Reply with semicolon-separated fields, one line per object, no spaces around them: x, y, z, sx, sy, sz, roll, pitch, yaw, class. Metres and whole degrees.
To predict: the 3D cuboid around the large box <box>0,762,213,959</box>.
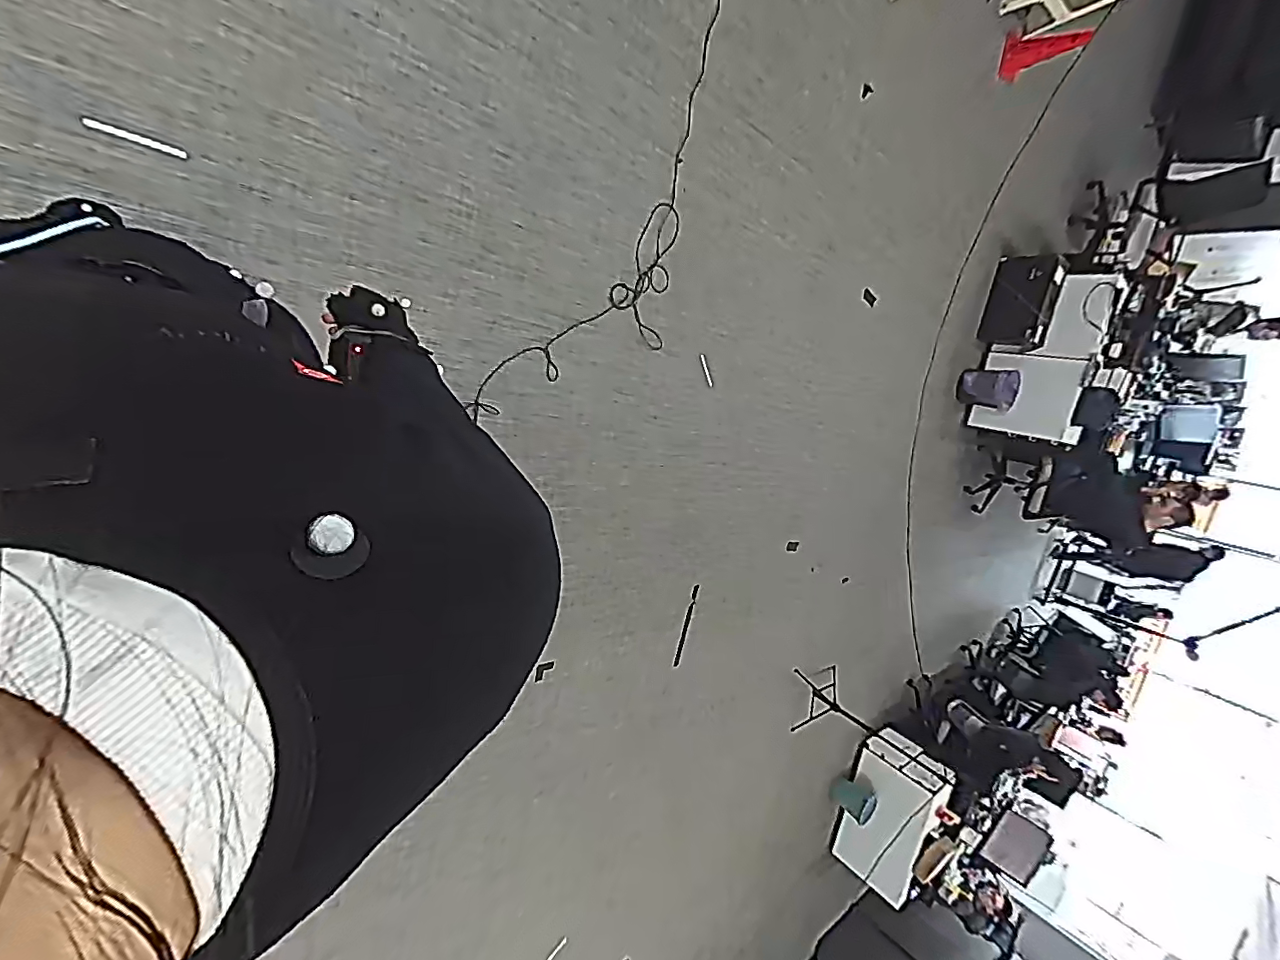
-1.167;0.814;1.098;0.408;0.320;0.320;26;87;-42;large box
